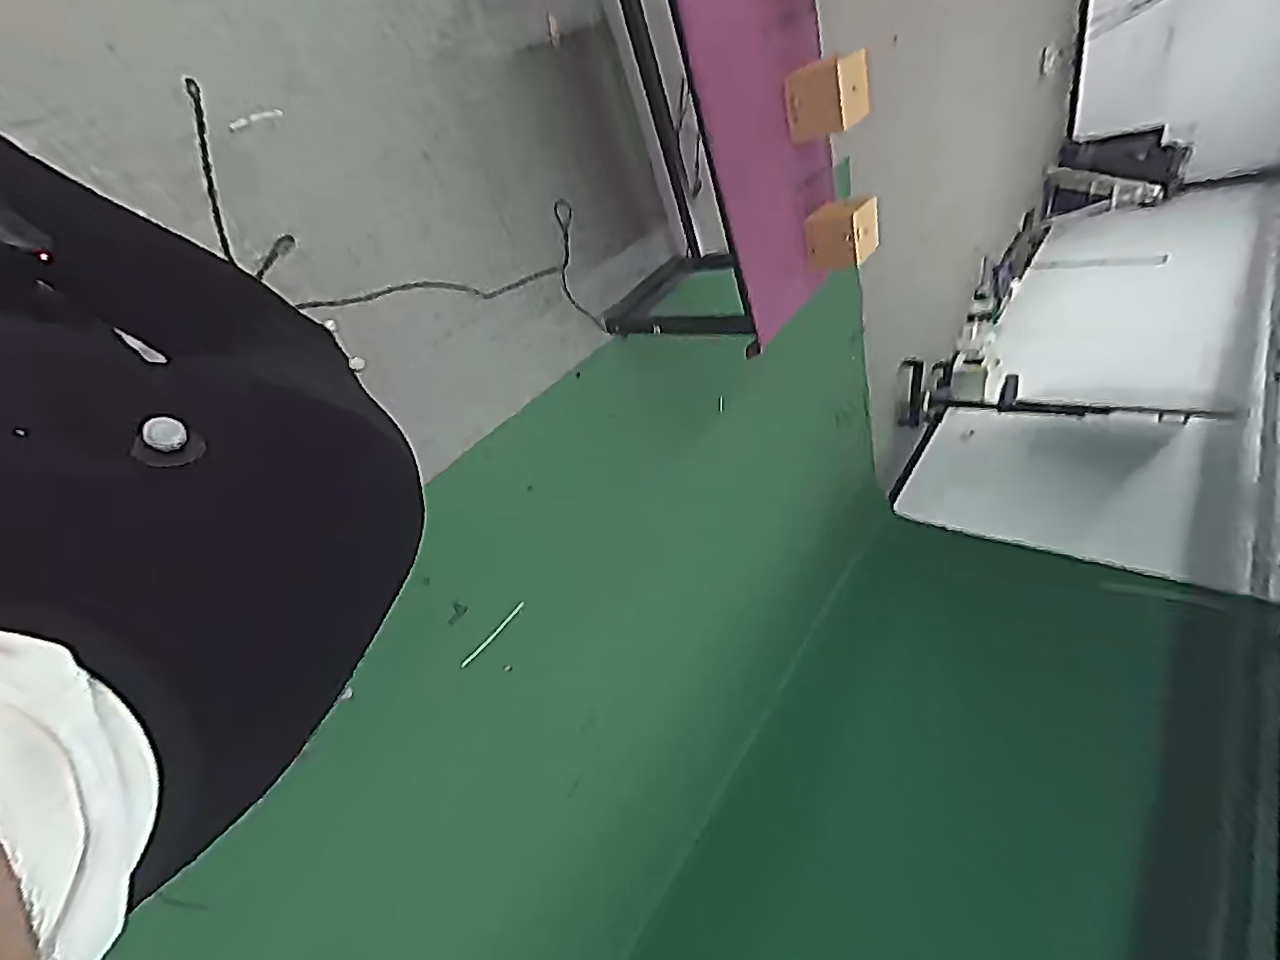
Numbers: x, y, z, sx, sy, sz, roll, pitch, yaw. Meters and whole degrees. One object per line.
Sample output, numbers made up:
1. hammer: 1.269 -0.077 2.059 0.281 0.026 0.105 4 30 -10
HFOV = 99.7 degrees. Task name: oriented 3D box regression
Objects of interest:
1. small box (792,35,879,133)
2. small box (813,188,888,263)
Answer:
1. small box: 0.554 -1.116 1.529 0.179 0.176 0.168 -45 130 -27
2. small box: 0.683 -0.823 1.754 0.179 0.176 0.168 -45 130 -29
